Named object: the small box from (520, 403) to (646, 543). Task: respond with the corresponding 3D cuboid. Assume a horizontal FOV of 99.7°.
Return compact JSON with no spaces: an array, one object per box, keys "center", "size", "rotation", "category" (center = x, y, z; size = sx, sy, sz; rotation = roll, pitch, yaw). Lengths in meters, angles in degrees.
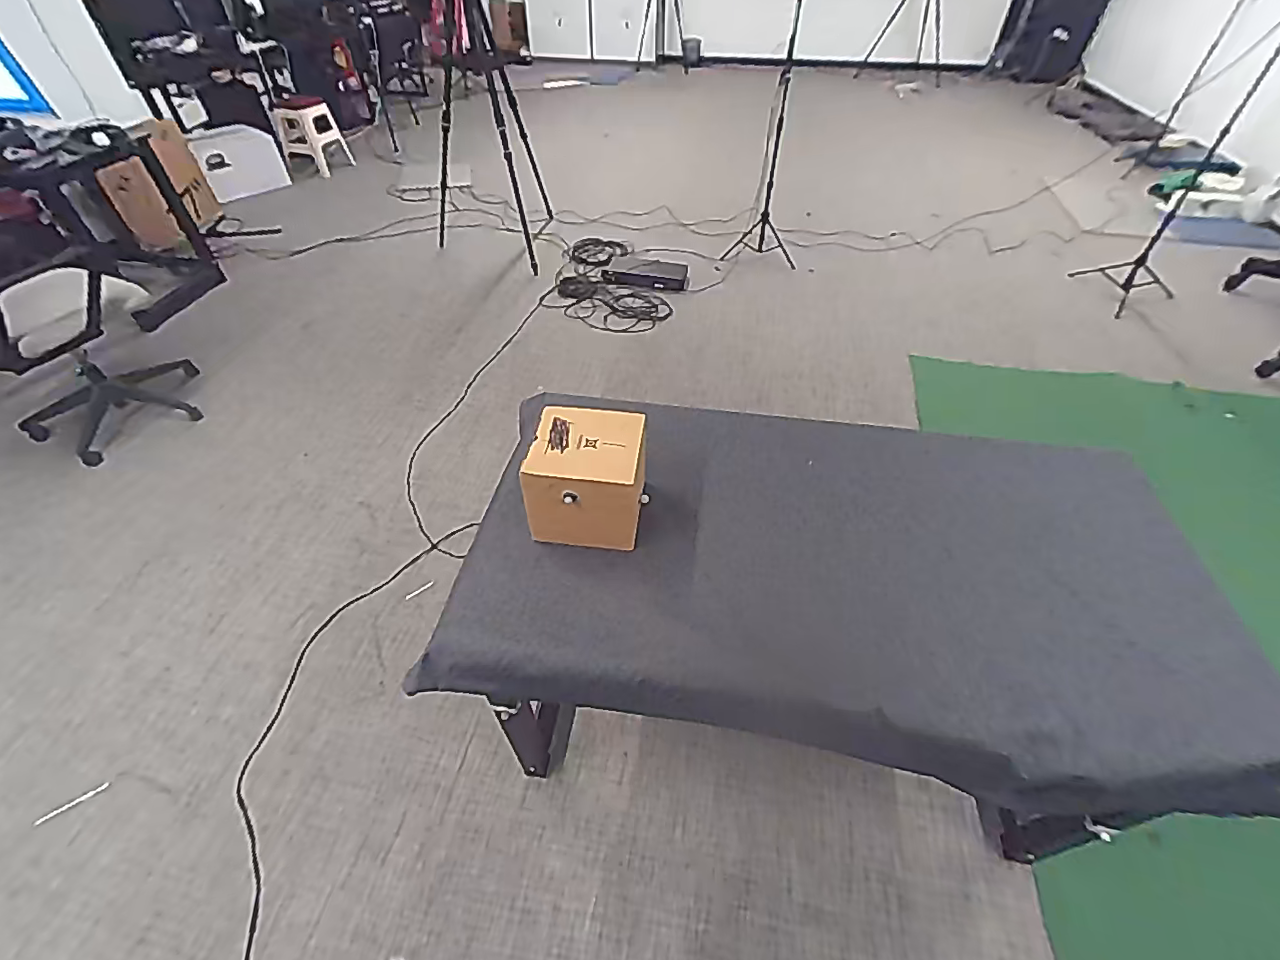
[{"center":[-0.087,-0.009,0.918],"size":[0.179,0.176,0.168],"rotation":[6,47,4],"category":"small box"}]
